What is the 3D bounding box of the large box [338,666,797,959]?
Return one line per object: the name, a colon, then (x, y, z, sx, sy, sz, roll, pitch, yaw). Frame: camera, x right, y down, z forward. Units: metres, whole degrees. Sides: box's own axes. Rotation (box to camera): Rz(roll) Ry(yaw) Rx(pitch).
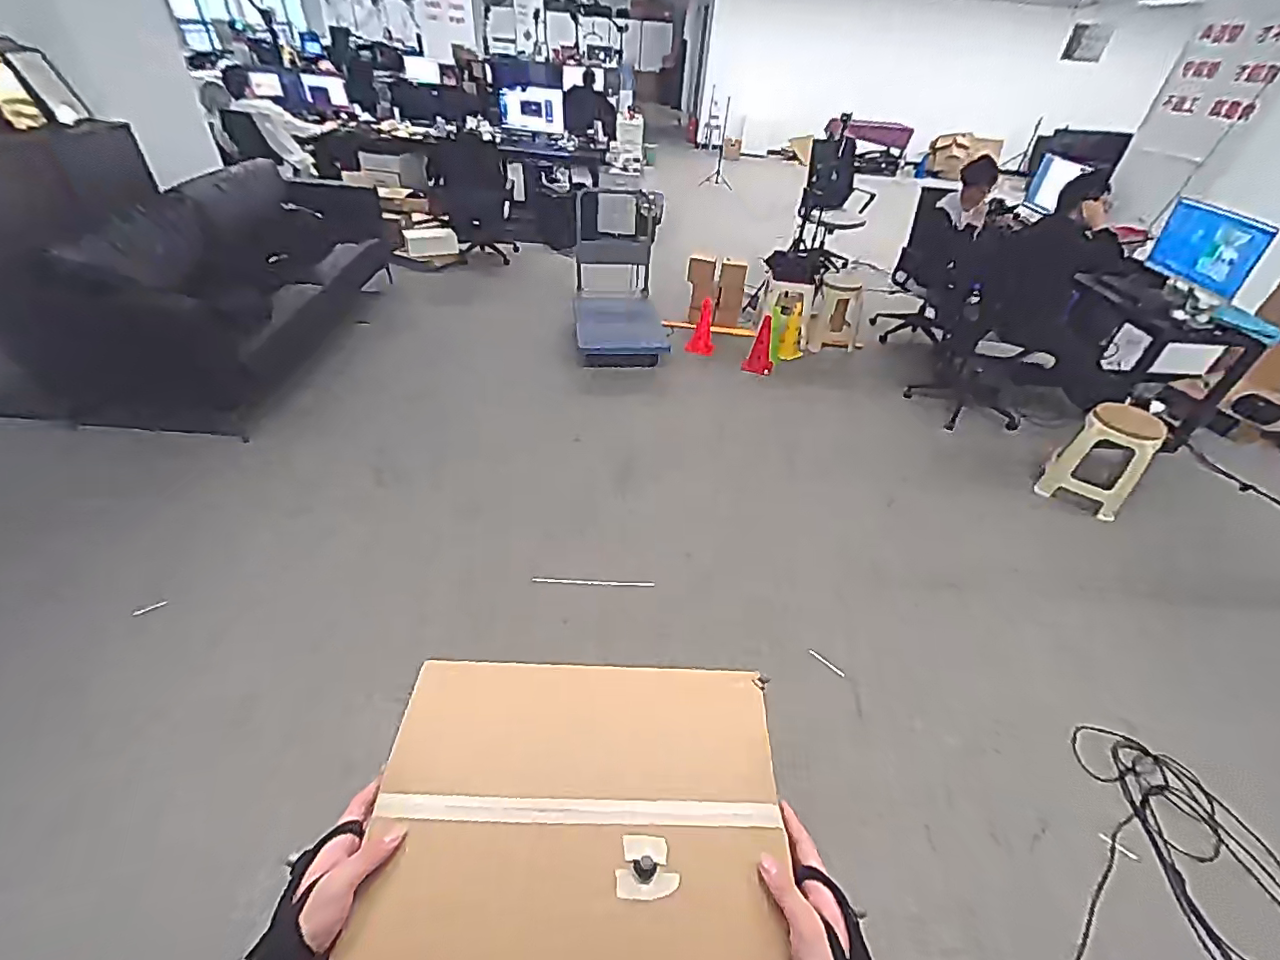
large box: (-0.068, 0.447, 0.651, 0.408, 0.320, 0.320, 2, 43, -1)
